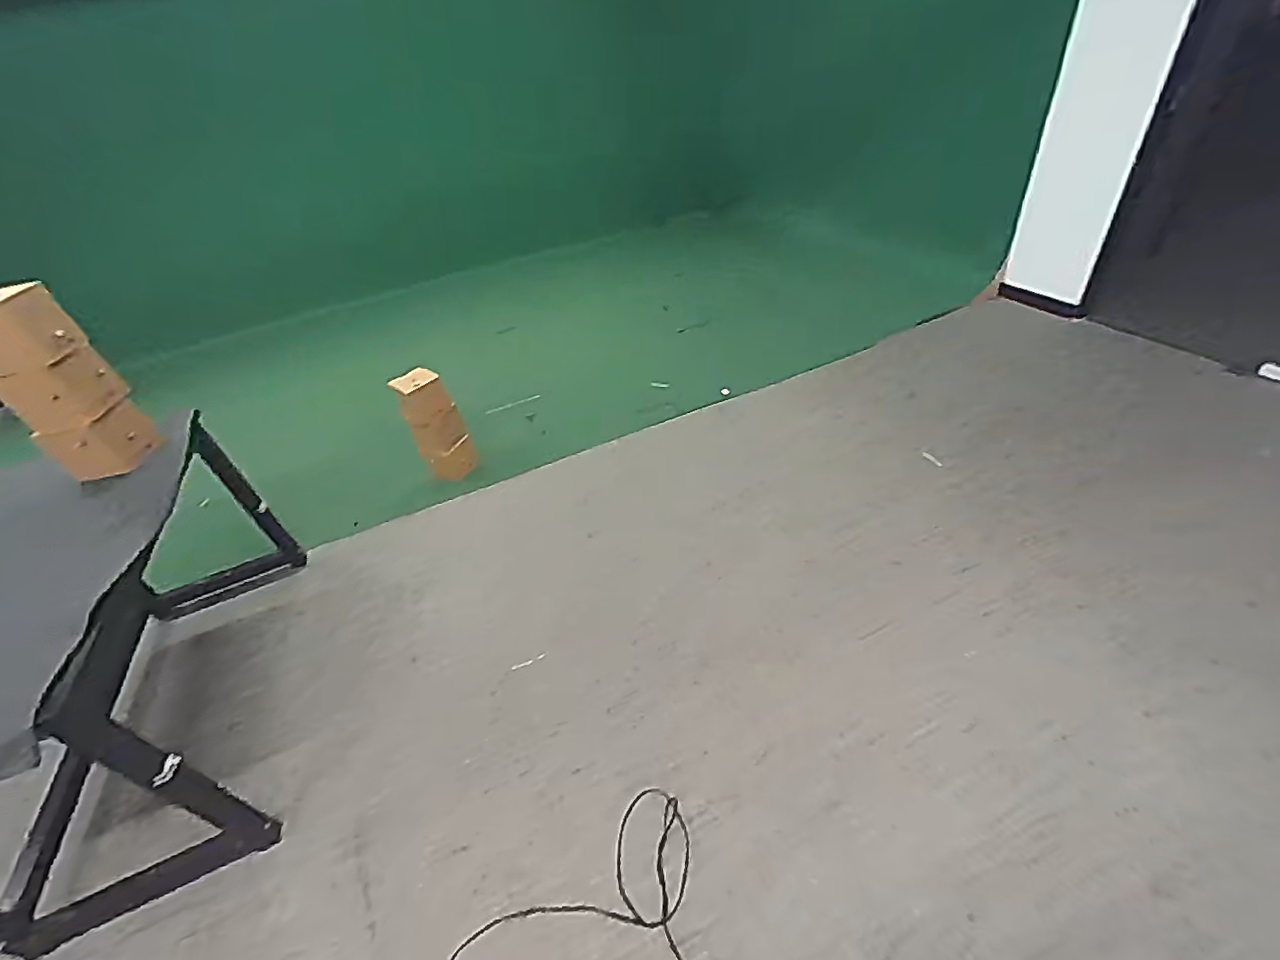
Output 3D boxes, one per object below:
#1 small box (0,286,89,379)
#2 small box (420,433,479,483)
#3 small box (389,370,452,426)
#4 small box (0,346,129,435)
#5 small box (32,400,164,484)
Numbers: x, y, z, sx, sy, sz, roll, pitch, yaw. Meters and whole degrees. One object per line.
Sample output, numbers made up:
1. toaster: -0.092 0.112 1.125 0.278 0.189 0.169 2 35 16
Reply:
1. small box: -1.622 -0.377 1.402 0.179 0.176 0.168 -16 39 -5
2. small box: -0.901 -0.102 2.582 0.179 0.176 0.168 9 44 23
3. small box: -0.964 -0.358 2.385 0.179 0.176 0.168 25 52 36
4. small box: -1.599 -0.247 1.500 0.179 0.176 0.168 -13 38 1
5. small box: -1.575 -0.111 1.588 0.179 0.176 0.168 -10 39 5
